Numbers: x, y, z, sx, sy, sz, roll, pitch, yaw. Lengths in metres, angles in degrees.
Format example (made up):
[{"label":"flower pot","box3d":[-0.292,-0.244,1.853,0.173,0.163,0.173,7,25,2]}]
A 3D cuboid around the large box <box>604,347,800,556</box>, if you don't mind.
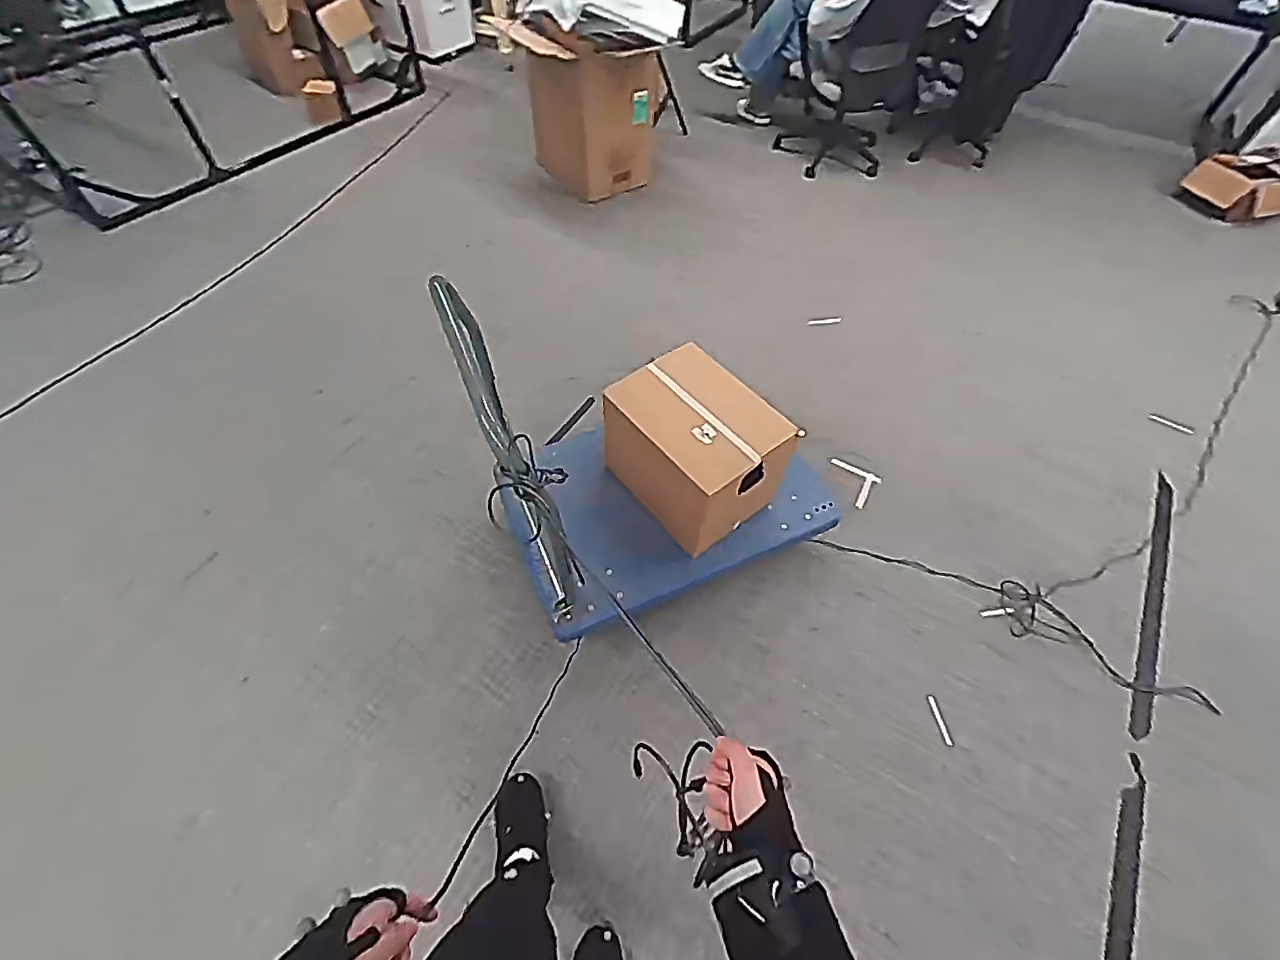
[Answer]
[{"label":"large box","box3d":[0.141,-0.079,1.457,0.320,0.320,0.408,-33,63,-22]}]
